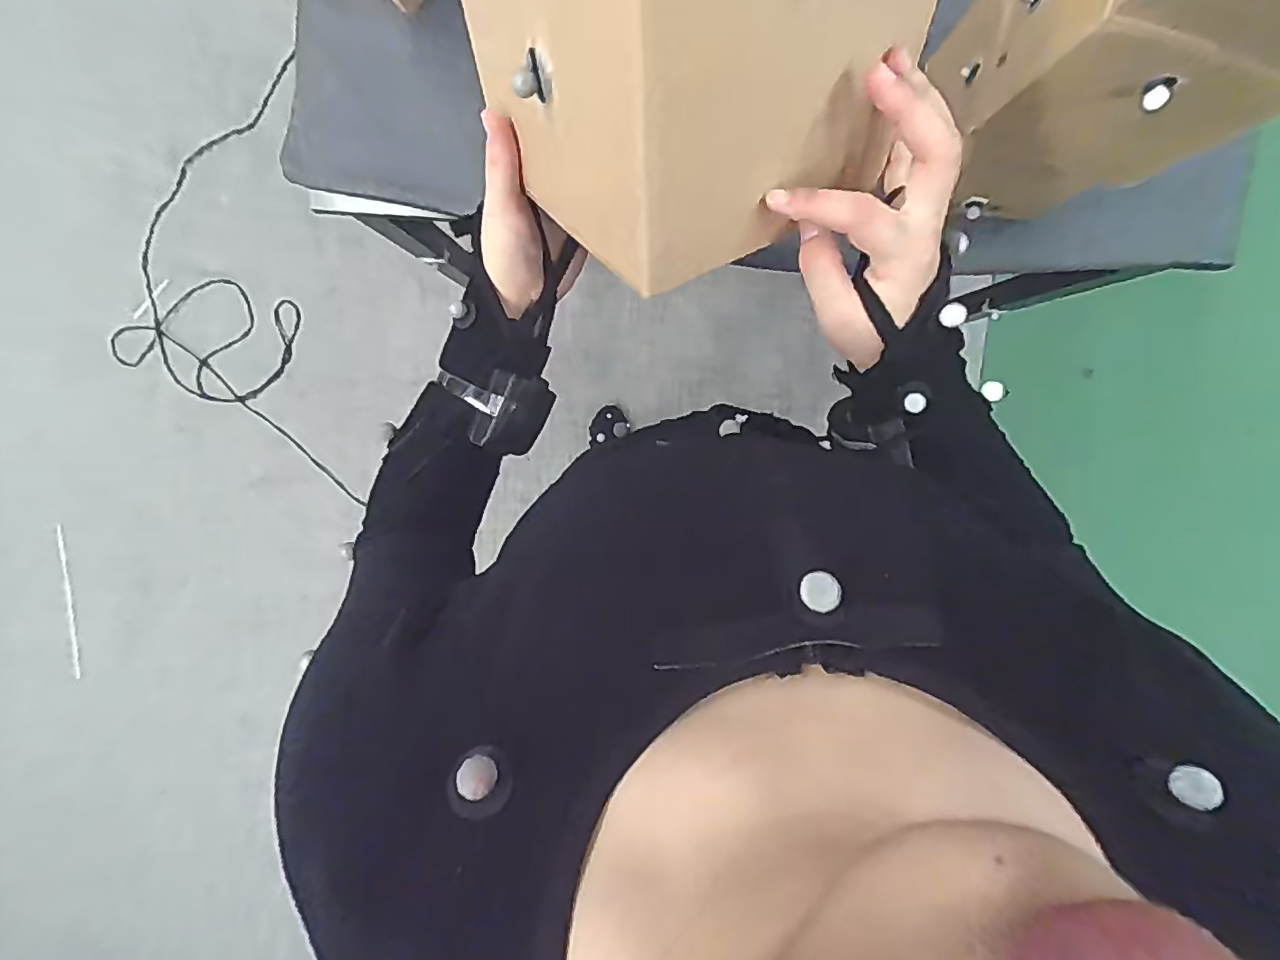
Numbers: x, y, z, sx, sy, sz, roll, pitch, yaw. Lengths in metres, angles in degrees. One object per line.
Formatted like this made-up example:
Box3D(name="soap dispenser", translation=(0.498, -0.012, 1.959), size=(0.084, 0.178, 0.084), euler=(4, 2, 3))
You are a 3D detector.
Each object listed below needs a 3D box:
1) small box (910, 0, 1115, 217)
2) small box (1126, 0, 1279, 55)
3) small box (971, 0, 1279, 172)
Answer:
Box3D(name="small box", translation=(0.426, -0.419, 0.602), size=(0.168, 0.176, 0.179), euler=(5, 97, 1))
Box3D(name="small box", translation=(0.423, -0.366, 0.279), size=(0.179, 0.176, 0.168), euler=(17, 97, 0))
Box3D(name="small box", translation=(0.423, -0.384, 0.443), size=(0.179, 0.176, 0.168), euler=(16, 97, 0))
